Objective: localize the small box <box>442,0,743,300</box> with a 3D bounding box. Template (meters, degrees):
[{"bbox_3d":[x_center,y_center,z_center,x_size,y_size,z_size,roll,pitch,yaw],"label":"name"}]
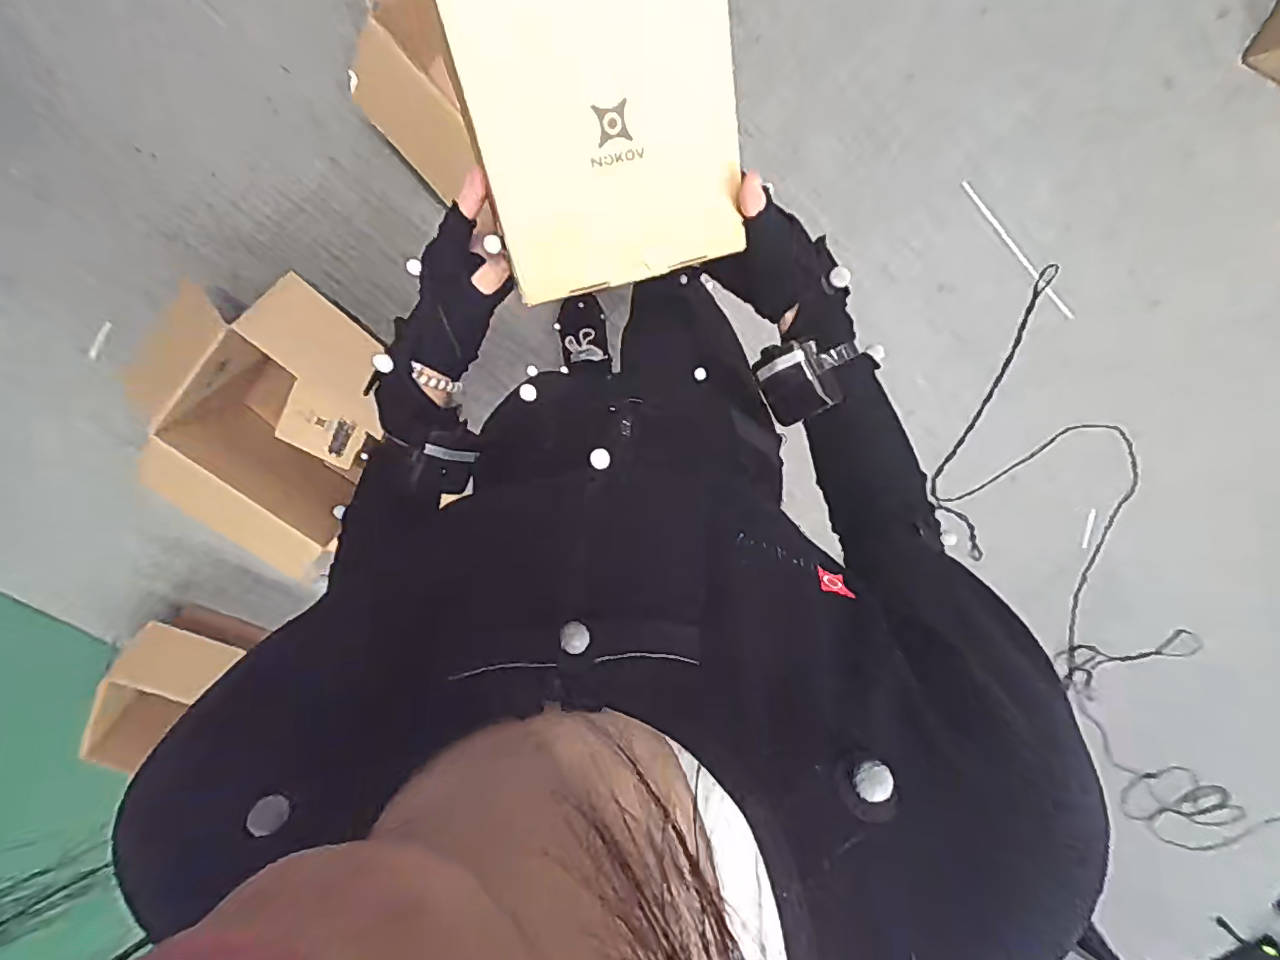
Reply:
[{"bbox_3d":[-0.040,-0.254,0.404,0.168,0.176,0.179,-18,123,-8],"label":"small box"}]
